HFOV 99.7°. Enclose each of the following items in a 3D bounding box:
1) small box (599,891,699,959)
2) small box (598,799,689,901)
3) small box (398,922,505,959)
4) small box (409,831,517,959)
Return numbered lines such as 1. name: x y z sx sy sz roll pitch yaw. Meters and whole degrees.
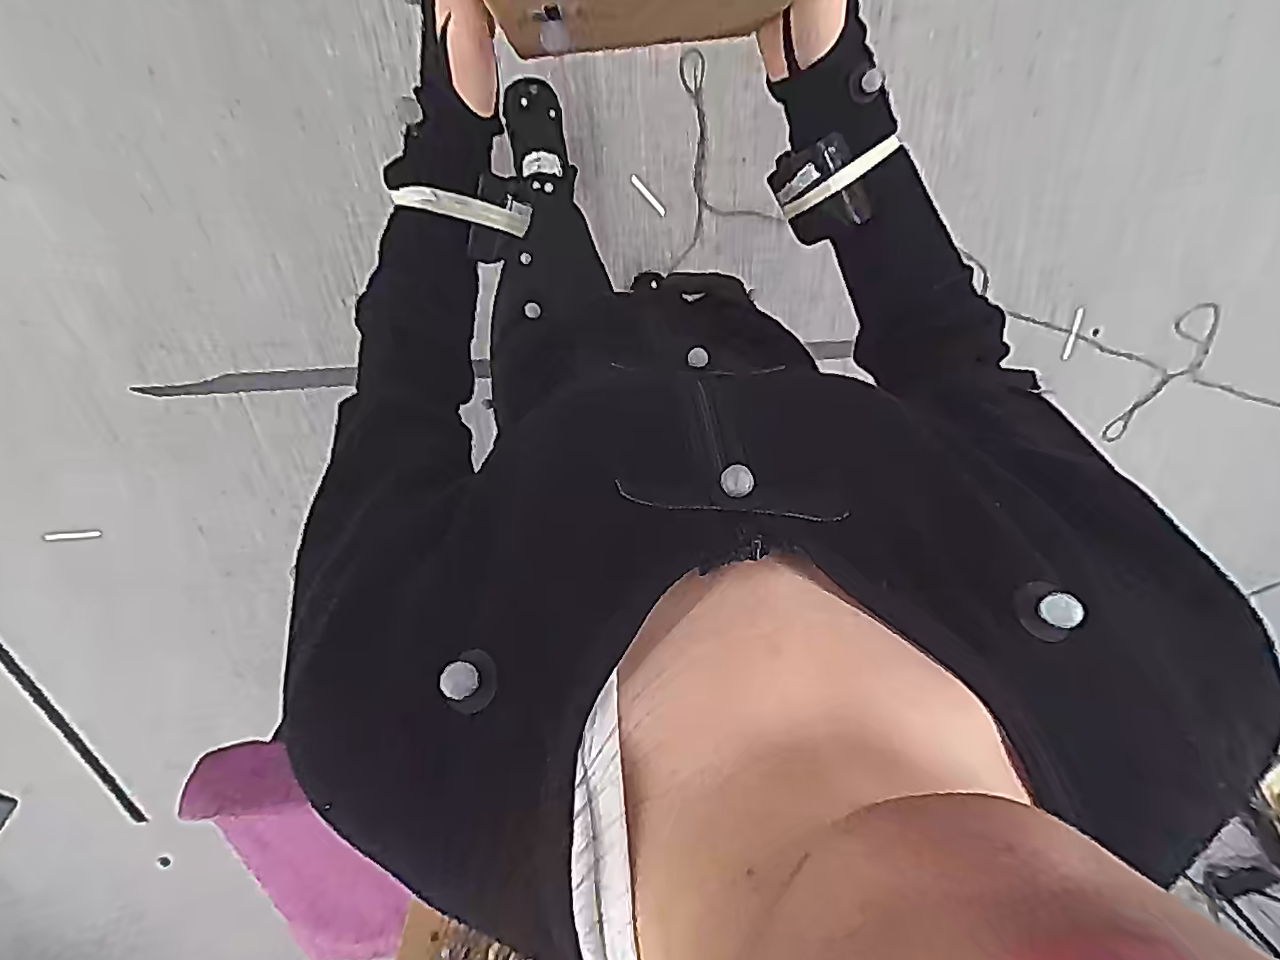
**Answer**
1. small box: 0.018 0.850 0.943 0.168 0.176 0.179 -6 118 -2
2. small box: 0.003 0.767 1.084 0.168 0.176 0.179 -3 119 -3
3. small box: -0.335 0.916 0.946 0.168 0.176 0.179 -2 117 -4
4. small box: -0.345 0.837 1.089 0.168 0.176 0.179 -2 118 -4
